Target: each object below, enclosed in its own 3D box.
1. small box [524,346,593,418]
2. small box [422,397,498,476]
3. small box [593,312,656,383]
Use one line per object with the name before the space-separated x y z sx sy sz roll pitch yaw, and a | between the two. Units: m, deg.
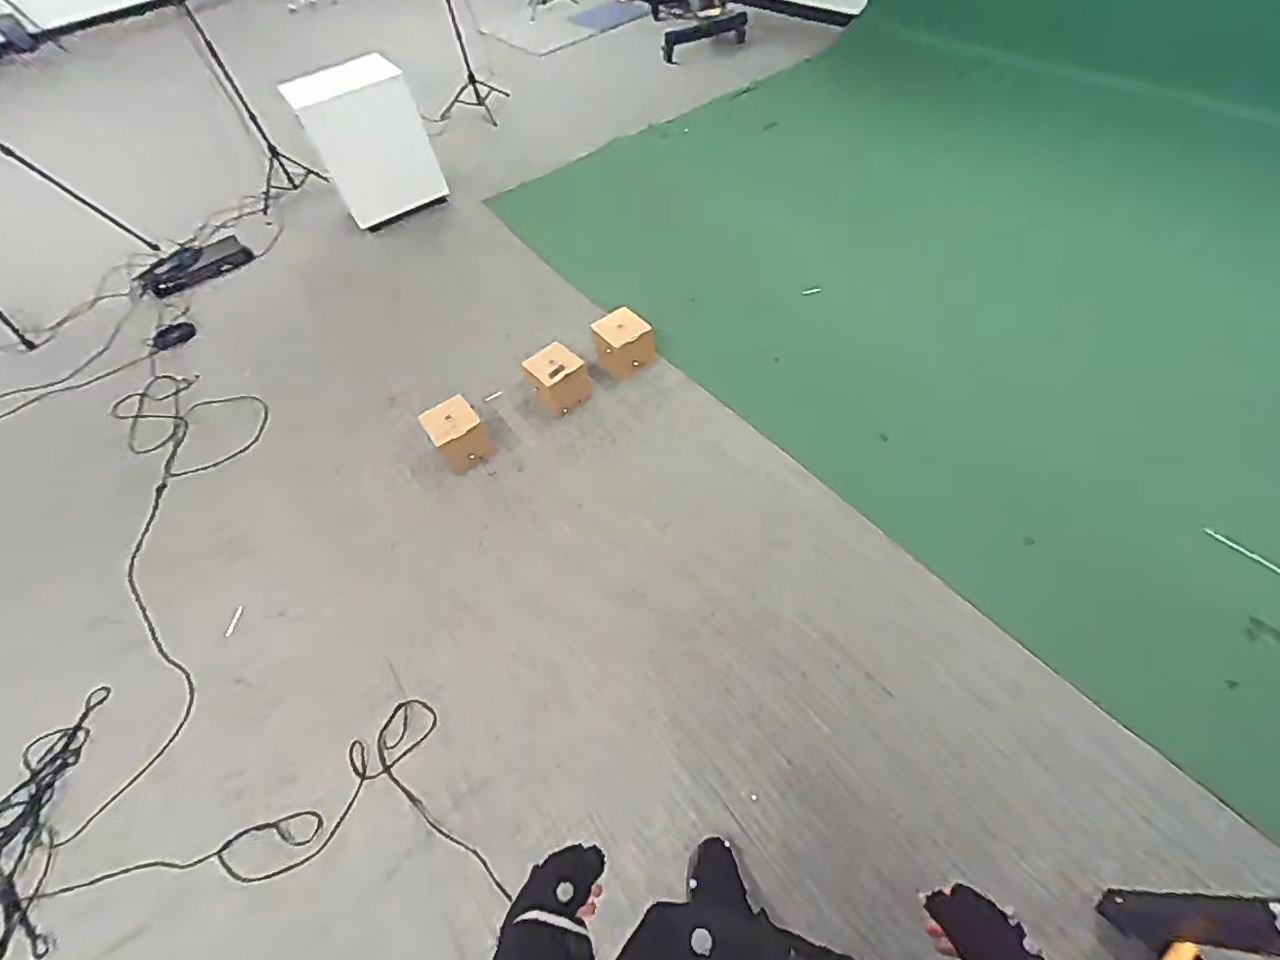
small box | -0.292 -0.354 1.985 0.168 0.176 0.179 -37 58 -19
small box | -0.619 -0.148 1.872 0.168 0.176 0.179 -33 58 -15
small box | -0.055 -0.504 2.068 0.168 0.176 0.179 -34 58 -16
